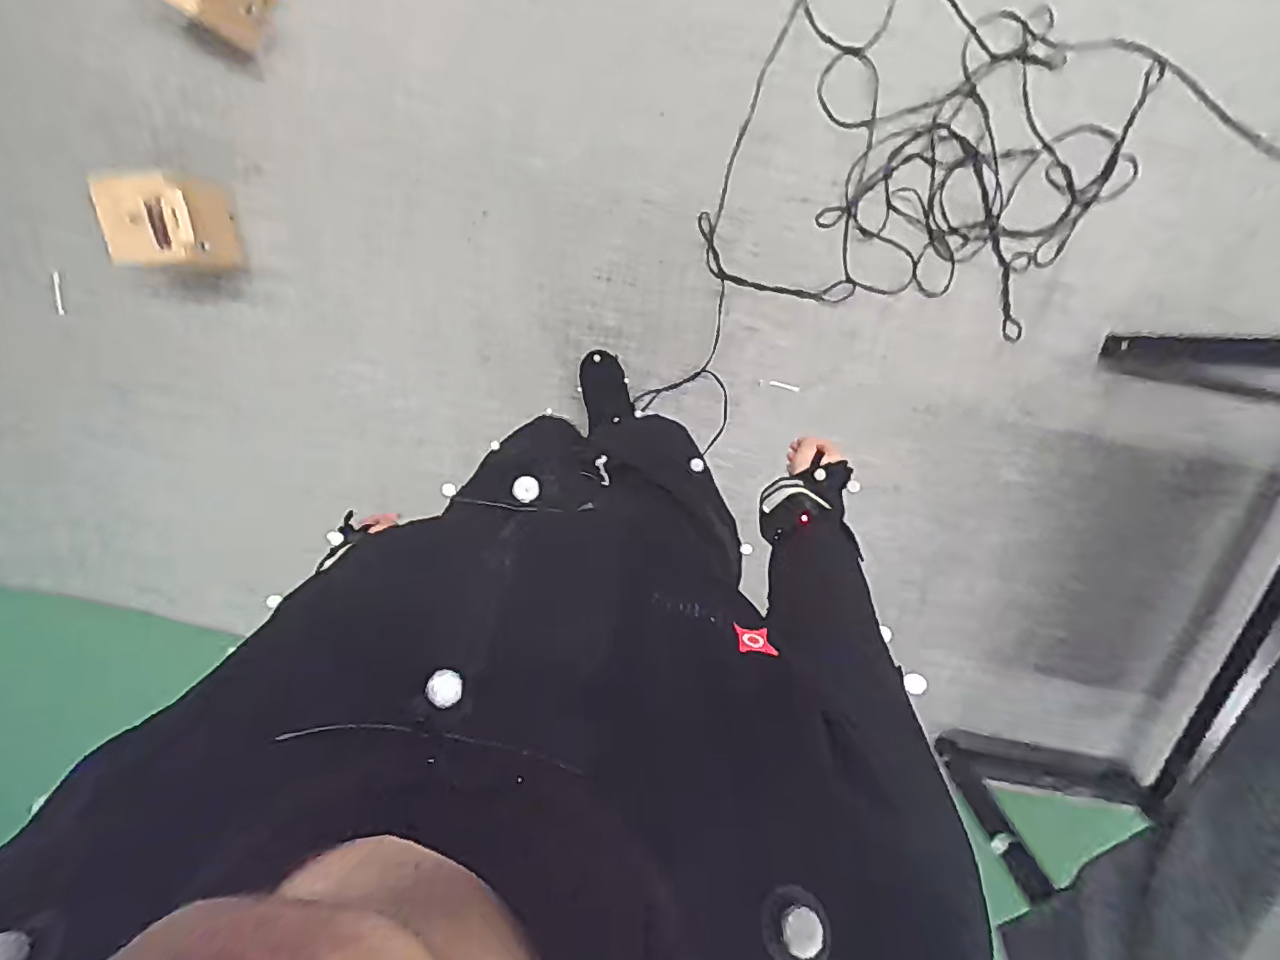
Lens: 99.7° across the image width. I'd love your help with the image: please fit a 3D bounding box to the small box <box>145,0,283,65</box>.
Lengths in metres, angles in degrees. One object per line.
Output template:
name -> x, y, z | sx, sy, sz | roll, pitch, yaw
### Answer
small box -> -0.857, -0.968, 1.058 | 0.179, 0.176, 0.168 | 29, 105, -5
